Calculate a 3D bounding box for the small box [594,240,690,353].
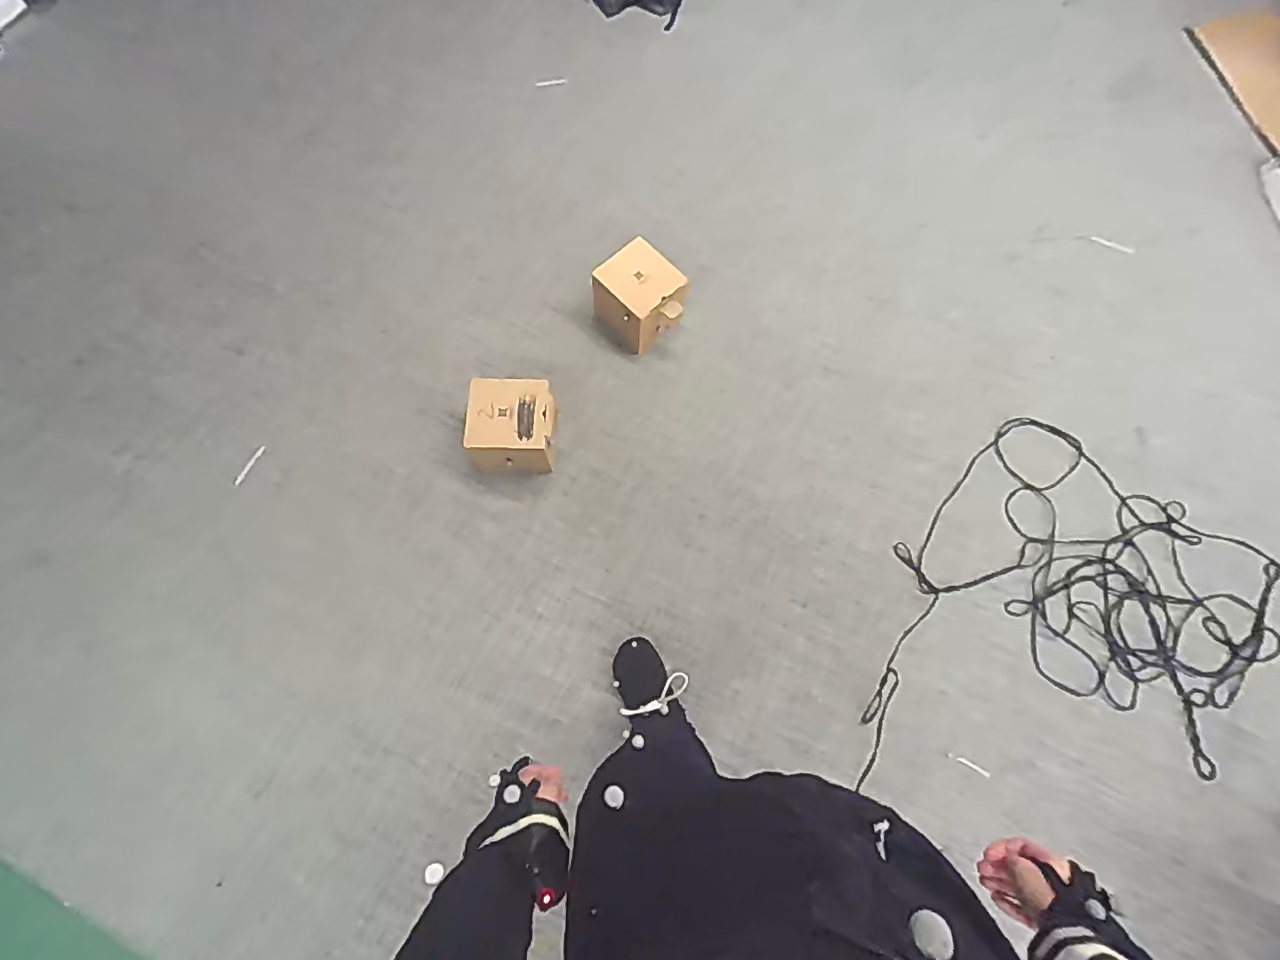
[{"bbox_3d":[0.001,-0.458,1.372,0.168,0.176,0.179,-43,80,-14],"label":"small box"}]
